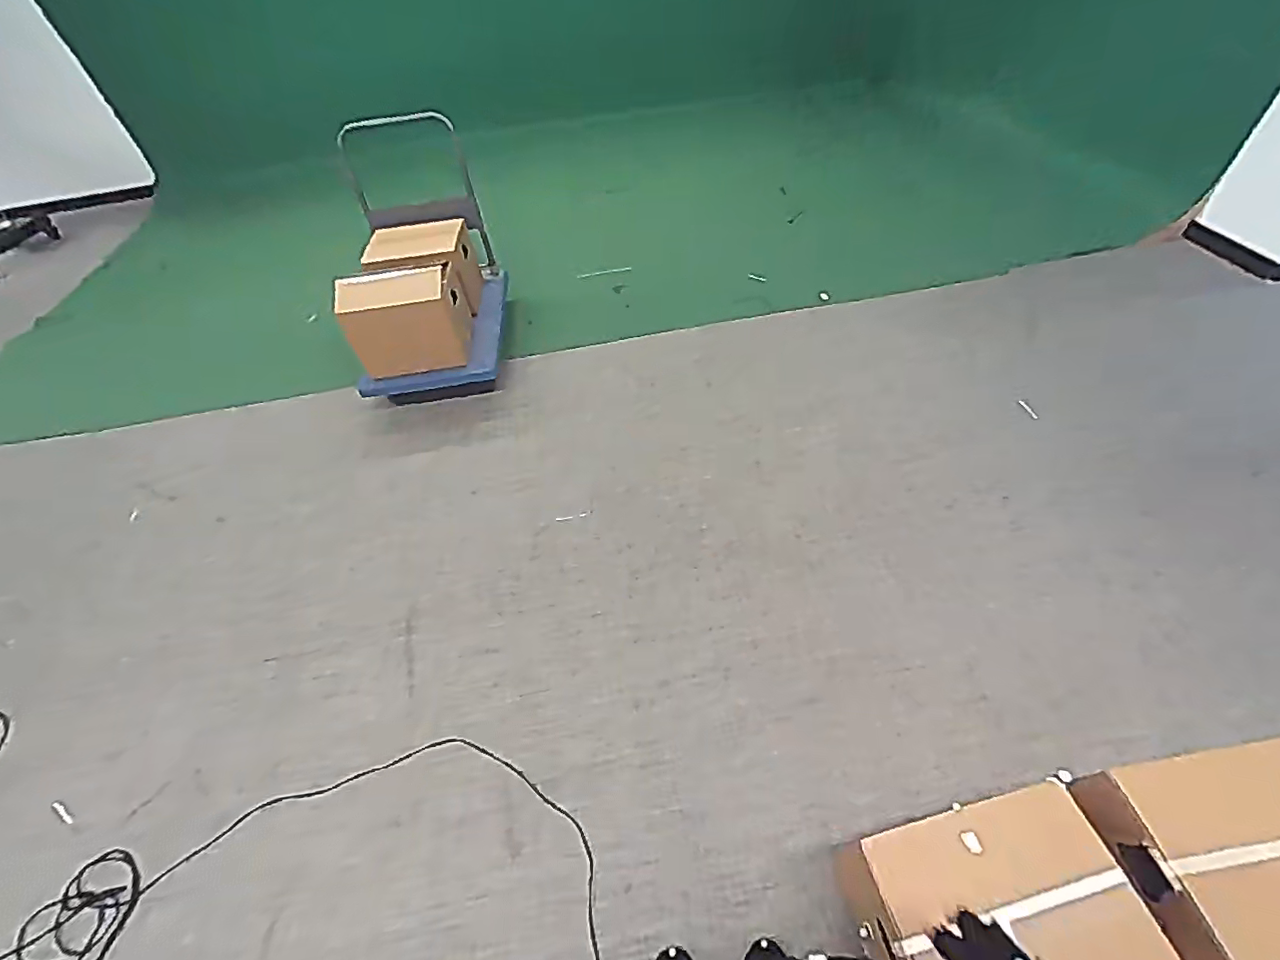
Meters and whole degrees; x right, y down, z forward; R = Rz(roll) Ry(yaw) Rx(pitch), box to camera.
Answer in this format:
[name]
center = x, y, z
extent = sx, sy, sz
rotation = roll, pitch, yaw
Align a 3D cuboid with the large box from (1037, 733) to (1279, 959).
[large box]
center = 1.103, 0.717, 1.031
extent = 0.408, 0.320, 0.320
rotation = -9, 50, -2
